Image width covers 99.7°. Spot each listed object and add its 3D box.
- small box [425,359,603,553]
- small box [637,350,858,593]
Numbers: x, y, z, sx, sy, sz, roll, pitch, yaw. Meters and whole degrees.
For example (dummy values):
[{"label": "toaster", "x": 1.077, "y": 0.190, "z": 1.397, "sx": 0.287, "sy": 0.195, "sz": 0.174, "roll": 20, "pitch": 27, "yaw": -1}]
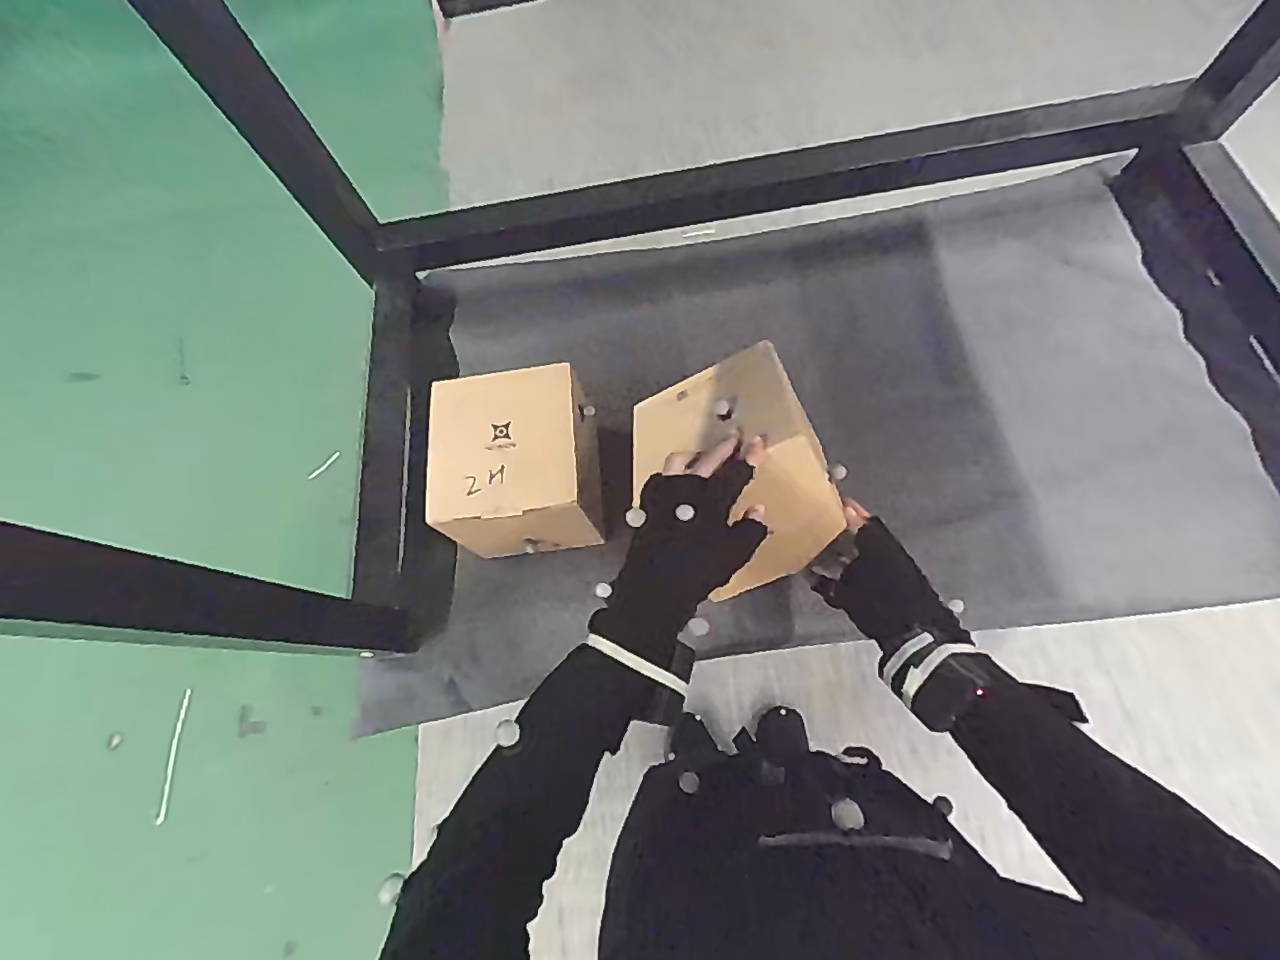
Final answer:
[{"label": "small box", "x": -0.143, "y": -0.021, "z": 0.668, "sx": 0.168, "sy": 0.176, "sz": 0.179, "roll": -7, "pitch": 68, "yaw": 5}, {"label": "small box", "x": 0.106, "y": -0.014, "z": 0.578, "sx": 0.168, "sy": 0.179, "sz": 0.176, "roll": -24, "pitch": 39, "yaw": 20}]
